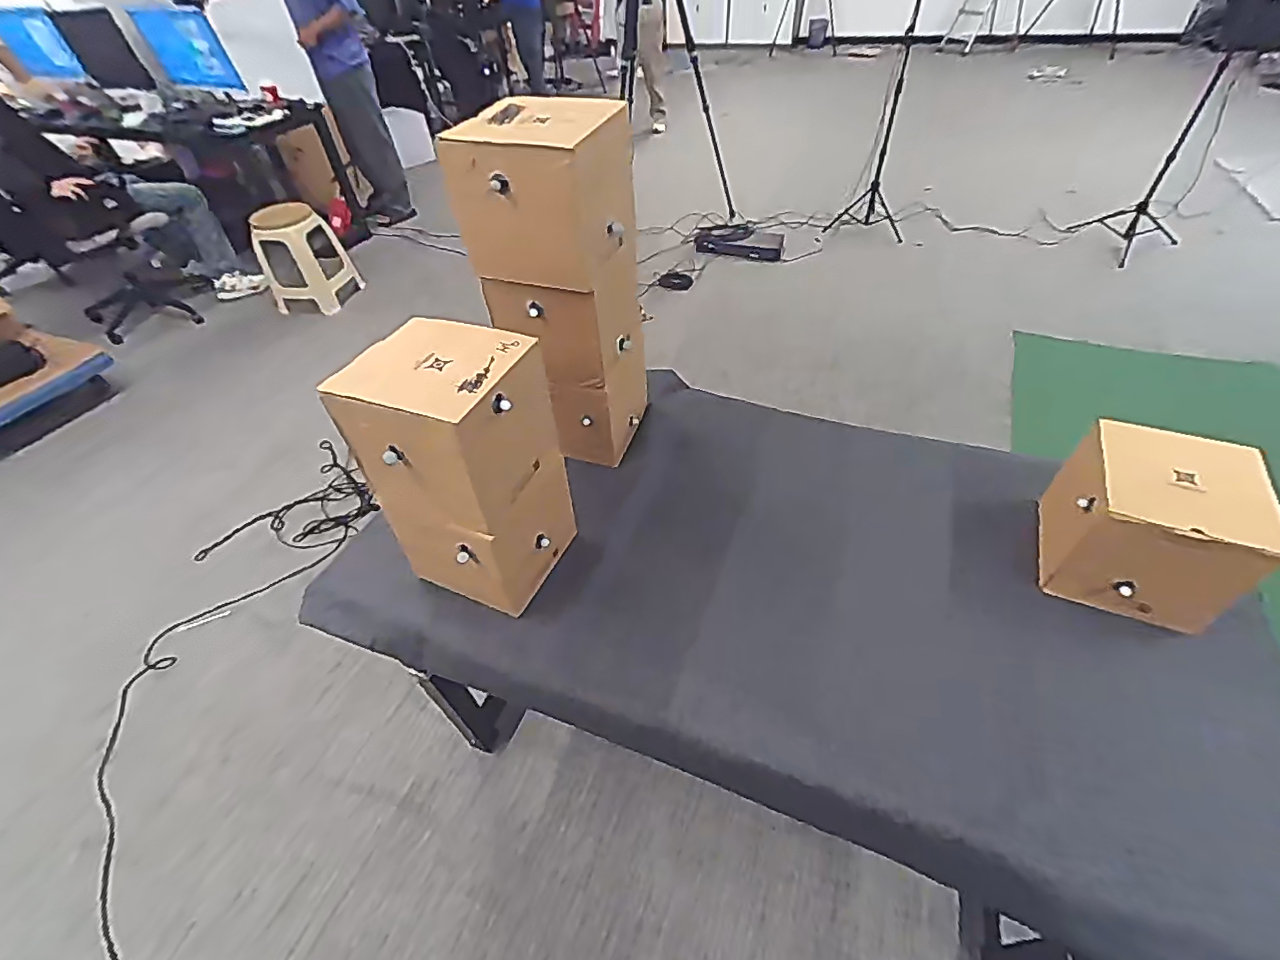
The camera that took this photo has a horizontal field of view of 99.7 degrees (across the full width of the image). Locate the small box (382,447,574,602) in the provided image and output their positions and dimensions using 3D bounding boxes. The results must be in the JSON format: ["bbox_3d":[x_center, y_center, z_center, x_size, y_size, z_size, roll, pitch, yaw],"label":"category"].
[{"bbox_3d":[-0.208,0.045,0.750,0.179,0.176,0.168,17,48,18],"label":"small box"}]

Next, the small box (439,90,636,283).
[{"bbox_3d":[-0.114,-0.372,0.689,0.179,0.176,0.168,14,52,15],"label":"small box"}]

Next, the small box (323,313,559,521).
[{"bbox_3d":[-0.216,-0.074,0.637,0.179,0.176,0.168,13,48,16],"label":"small box"}]

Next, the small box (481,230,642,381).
[{"bbox_3d":[-0.105,-0.270,0.818,0.179,0.176,0.168,13,52,14],"label":"small box"}]

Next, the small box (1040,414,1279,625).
[{"bbox_3d":[0.640,0.049,0.687,0.168,0.176,0.179,17,52,19],"label":"small box"}]
